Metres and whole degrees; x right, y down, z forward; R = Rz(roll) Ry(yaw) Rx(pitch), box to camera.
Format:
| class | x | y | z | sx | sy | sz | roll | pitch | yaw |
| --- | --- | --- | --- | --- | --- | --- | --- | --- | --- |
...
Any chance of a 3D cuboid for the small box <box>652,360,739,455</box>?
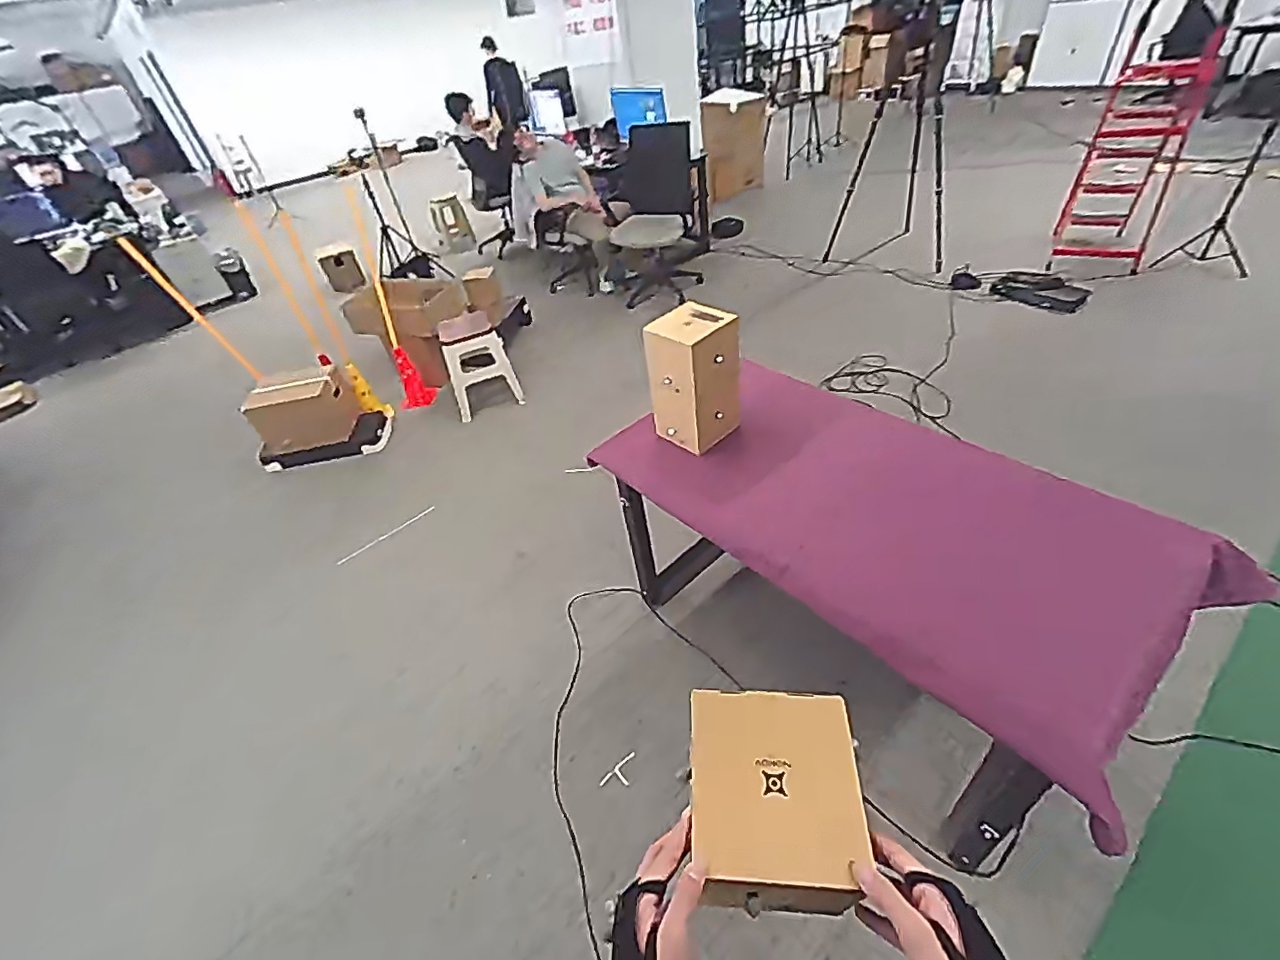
| class | x | y | z | sx | sy | sz | roll | pitch | yaw |
| --- | --- | --- | --- | --- | --- | --- | --- | --- | --- |
| small box | 0.154 | -0.200 | 1.487 | 0.179 | 0.176 | 0.168 | -36 | 47 | -27 |
